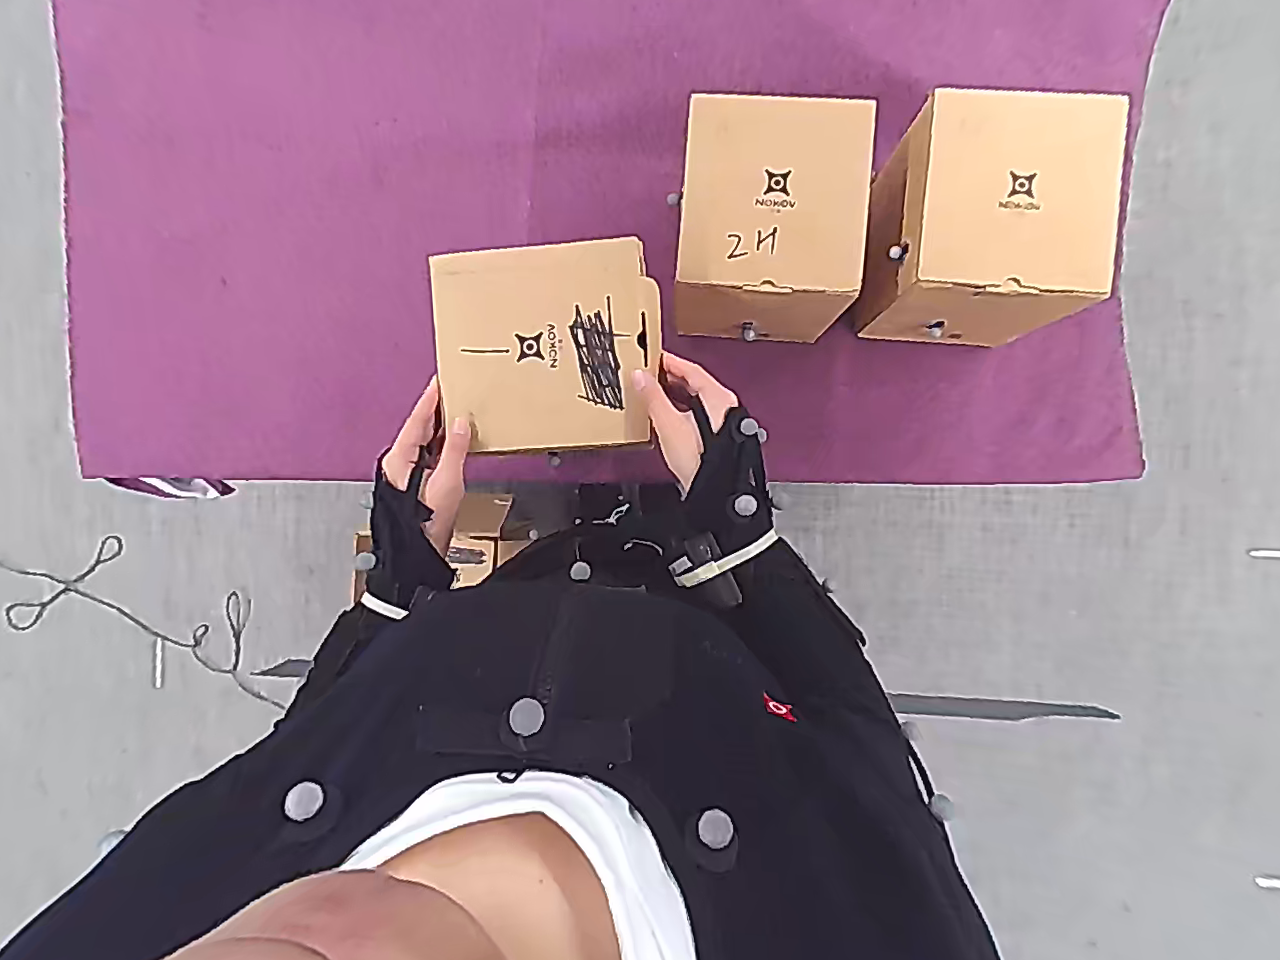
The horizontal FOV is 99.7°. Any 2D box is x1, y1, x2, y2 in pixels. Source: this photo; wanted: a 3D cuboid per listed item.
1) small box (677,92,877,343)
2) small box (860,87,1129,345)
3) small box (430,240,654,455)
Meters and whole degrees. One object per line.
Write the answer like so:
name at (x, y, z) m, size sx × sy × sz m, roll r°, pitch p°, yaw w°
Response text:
small box at (0.127, -0.256, 0.561) m, size 0.168 × 0.176 × 0.179 m, roll 5°, pitch 90°, yaw 4°
small box at (0.337, -0.250, 0.547) m, size 0.168 × 0.176 × 0.179 m, roll 5°, pitch 90°, yaw 4°
small box at (-0.077, -0.111, 0.519) m, size 0.179 × 0.176 × 0.168 m, roll -3°, pitch 92°, yaw 3°
